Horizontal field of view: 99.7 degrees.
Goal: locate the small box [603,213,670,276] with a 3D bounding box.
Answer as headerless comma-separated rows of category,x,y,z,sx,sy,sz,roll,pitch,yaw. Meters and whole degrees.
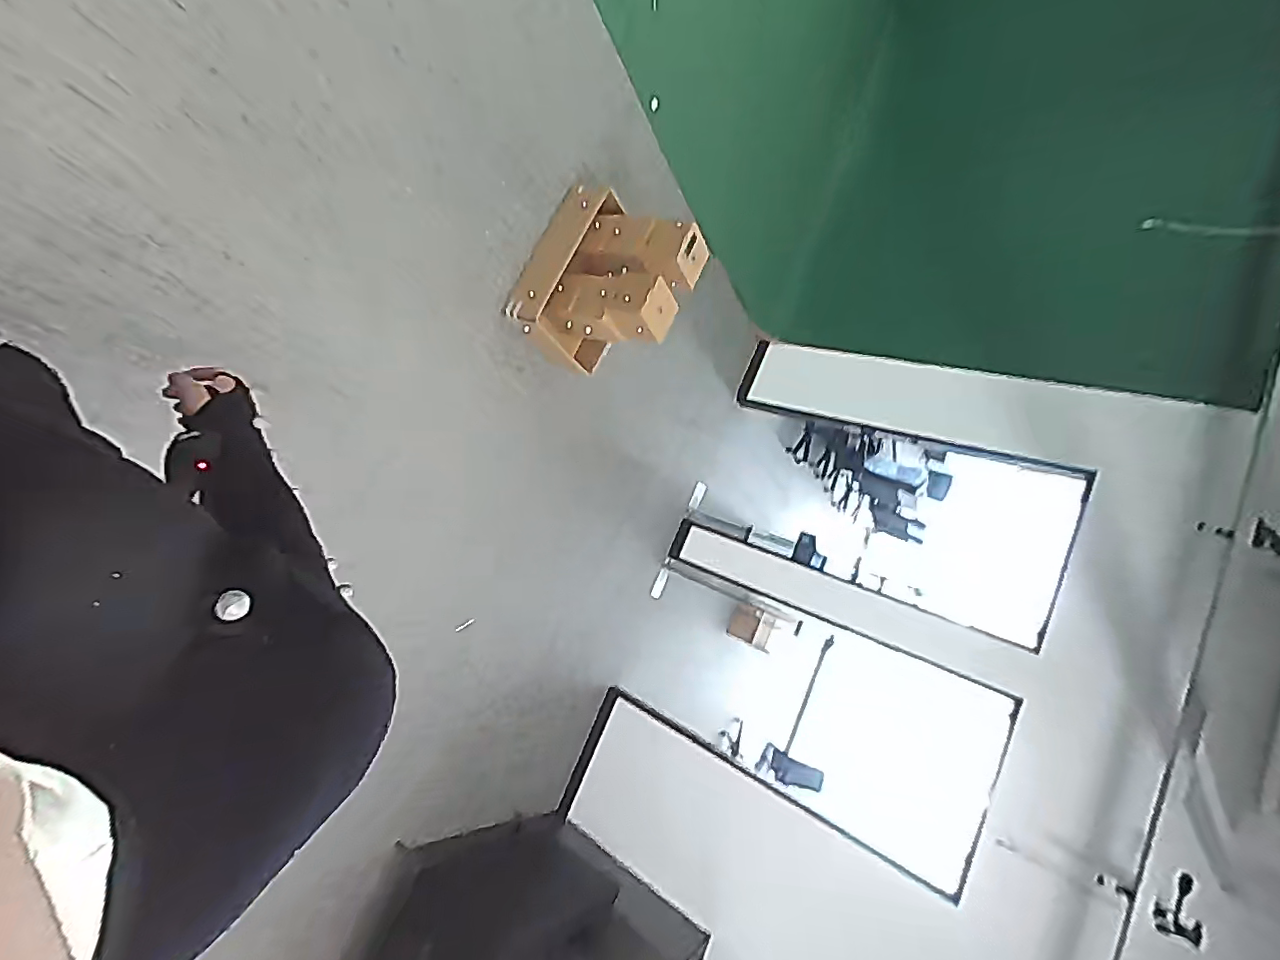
small box,-0.020,-0.890,2.063,0.179,0.176,0.168,-64,149,-8

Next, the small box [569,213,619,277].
small box,-0.151,-0.935,2.156,0.179,0.176,0.168,38,74,-56

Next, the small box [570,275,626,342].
small box,-0.134,-0.644,2.016,0.168,0.176,0.179,36,75,-56

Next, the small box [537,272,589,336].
small box,-0.267,-0.686,2.105,0.168,0.176,0.179,-65,148,-12

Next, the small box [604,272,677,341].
small box,0.000,-0.619,1.926,0.168,0.176,0.179,-64,147,-12
